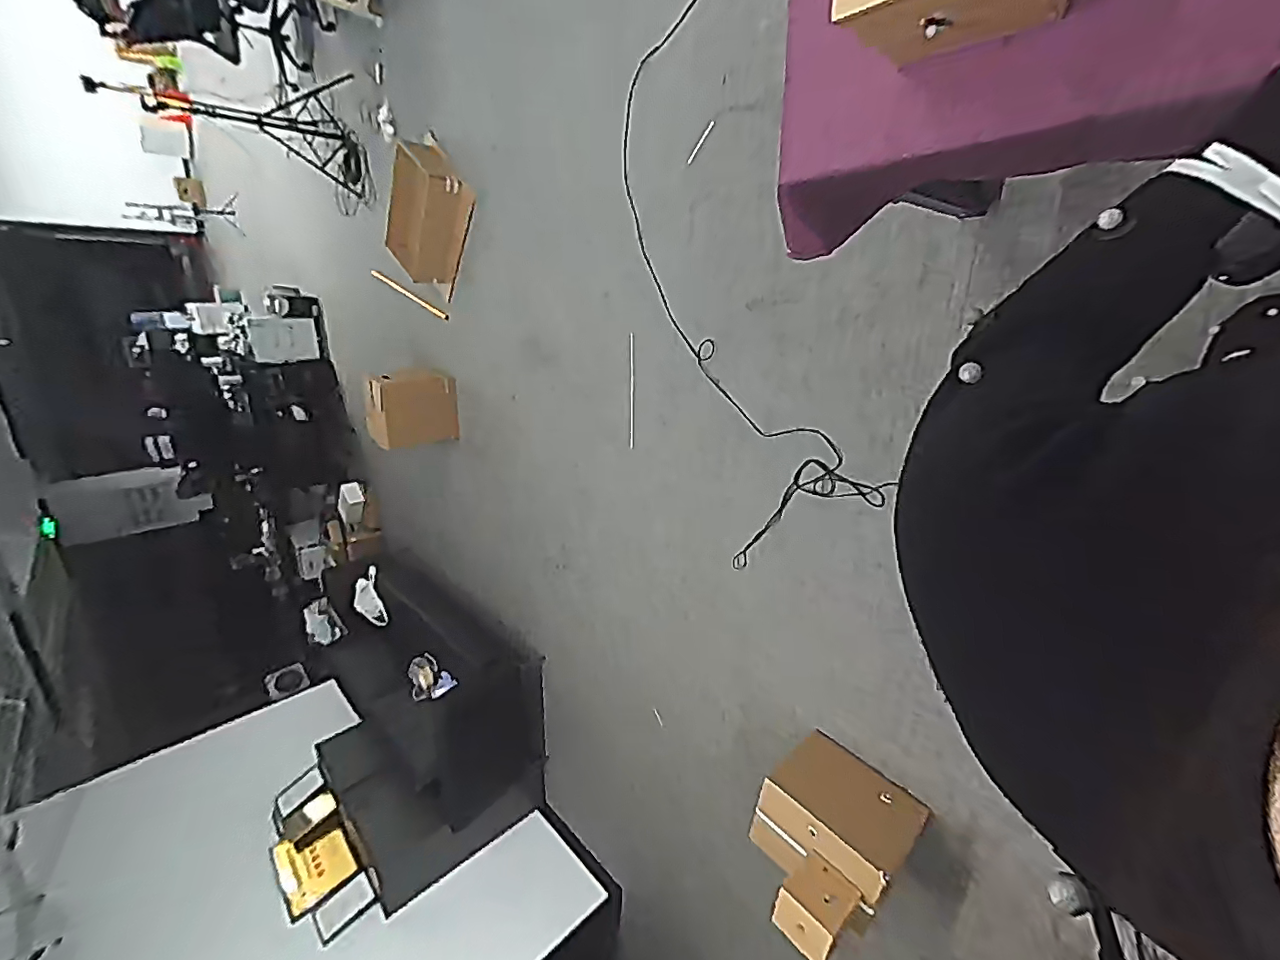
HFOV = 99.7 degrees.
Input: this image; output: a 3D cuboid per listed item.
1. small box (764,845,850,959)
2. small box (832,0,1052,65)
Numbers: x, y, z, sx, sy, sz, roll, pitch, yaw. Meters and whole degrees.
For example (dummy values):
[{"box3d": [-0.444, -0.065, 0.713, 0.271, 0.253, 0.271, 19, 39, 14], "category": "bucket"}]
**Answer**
[{"box3d": [0.491, 1.228, 1.581, 0.168, 0.176, 0.179, 27, 124, 40], "category": "small box"}, {"box3d": [0.325, -0.562, 0.550, 0.179, 0.176, 0.168, 19, 115, 43], "category": "small box"}]
